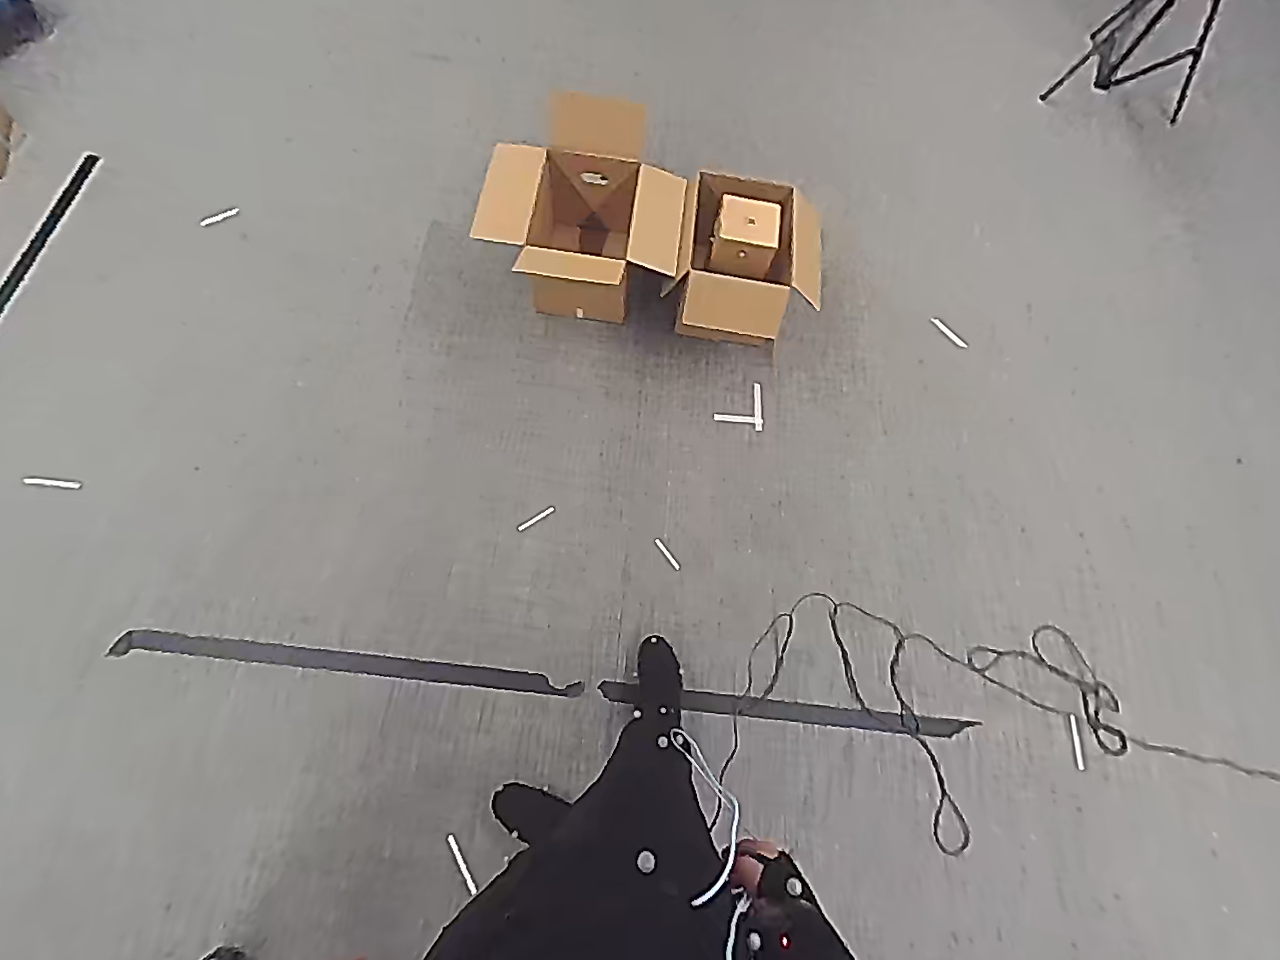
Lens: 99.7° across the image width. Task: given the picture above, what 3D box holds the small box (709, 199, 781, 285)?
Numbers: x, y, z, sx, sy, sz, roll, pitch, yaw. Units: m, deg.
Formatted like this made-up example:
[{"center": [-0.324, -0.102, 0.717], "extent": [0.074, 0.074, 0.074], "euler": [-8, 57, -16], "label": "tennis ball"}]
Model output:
[{"center": [0.322, -0.728, 1.671], "extent": [0.179, 0.176, 0.168], "euler": [9, 71, -1], "label": "small box"}]
